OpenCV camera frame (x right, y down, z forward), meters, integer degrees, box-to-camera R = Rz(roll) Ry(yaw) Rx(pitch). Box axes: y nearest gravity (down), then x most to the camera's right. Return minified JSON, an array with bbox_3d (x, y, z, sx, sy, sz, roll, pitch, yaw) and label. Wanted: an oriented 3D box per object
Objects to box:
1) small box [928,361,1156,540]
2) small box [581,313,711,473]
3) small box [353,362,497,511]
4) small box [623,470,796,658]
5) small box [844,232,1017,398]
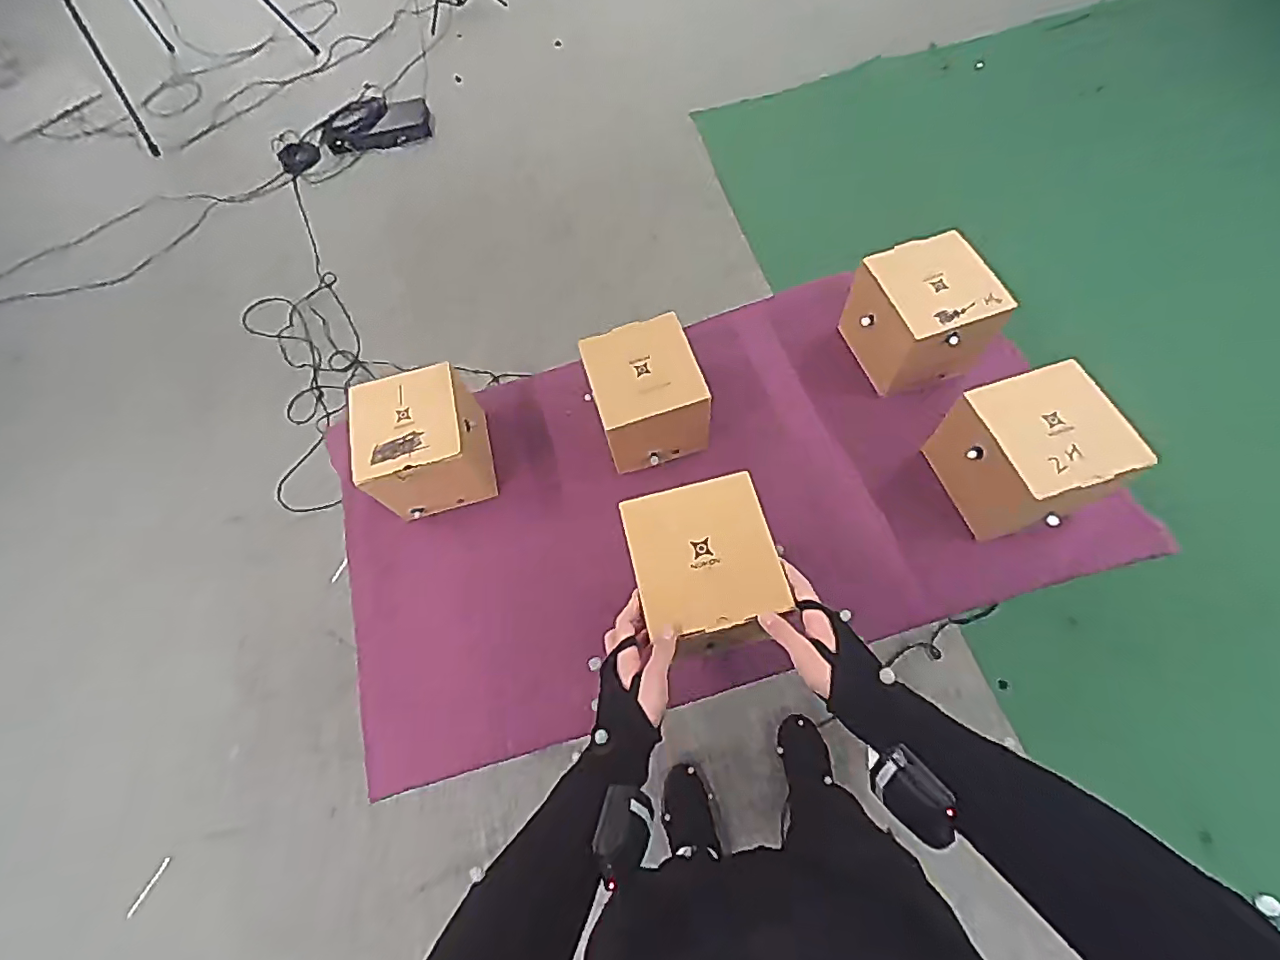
[{"bbox_3d":[0.557,-0.036,0.784,0.168,0.176,0.179,-17,64,0],"label":"small box"},{"bbox_3d":[0.012,-0.138,0.897,0.168,0.176,0.179,-17,66,-1],"label":"small box"},{"bbox_3d":[-0.348,-0.061,0.896,0.168,0.176,0.179,-15,66,-2],"label":"small box"},{"bbox_3d":[0.080,0.114,0.697,0.168,0.176,0.179,-14,64,-1],"label":"small box"},{"bbox_3d":[0.466,-0.269,0.904,0.168,0.176,0.179,-19,65,-1],"label":"small box"}]
